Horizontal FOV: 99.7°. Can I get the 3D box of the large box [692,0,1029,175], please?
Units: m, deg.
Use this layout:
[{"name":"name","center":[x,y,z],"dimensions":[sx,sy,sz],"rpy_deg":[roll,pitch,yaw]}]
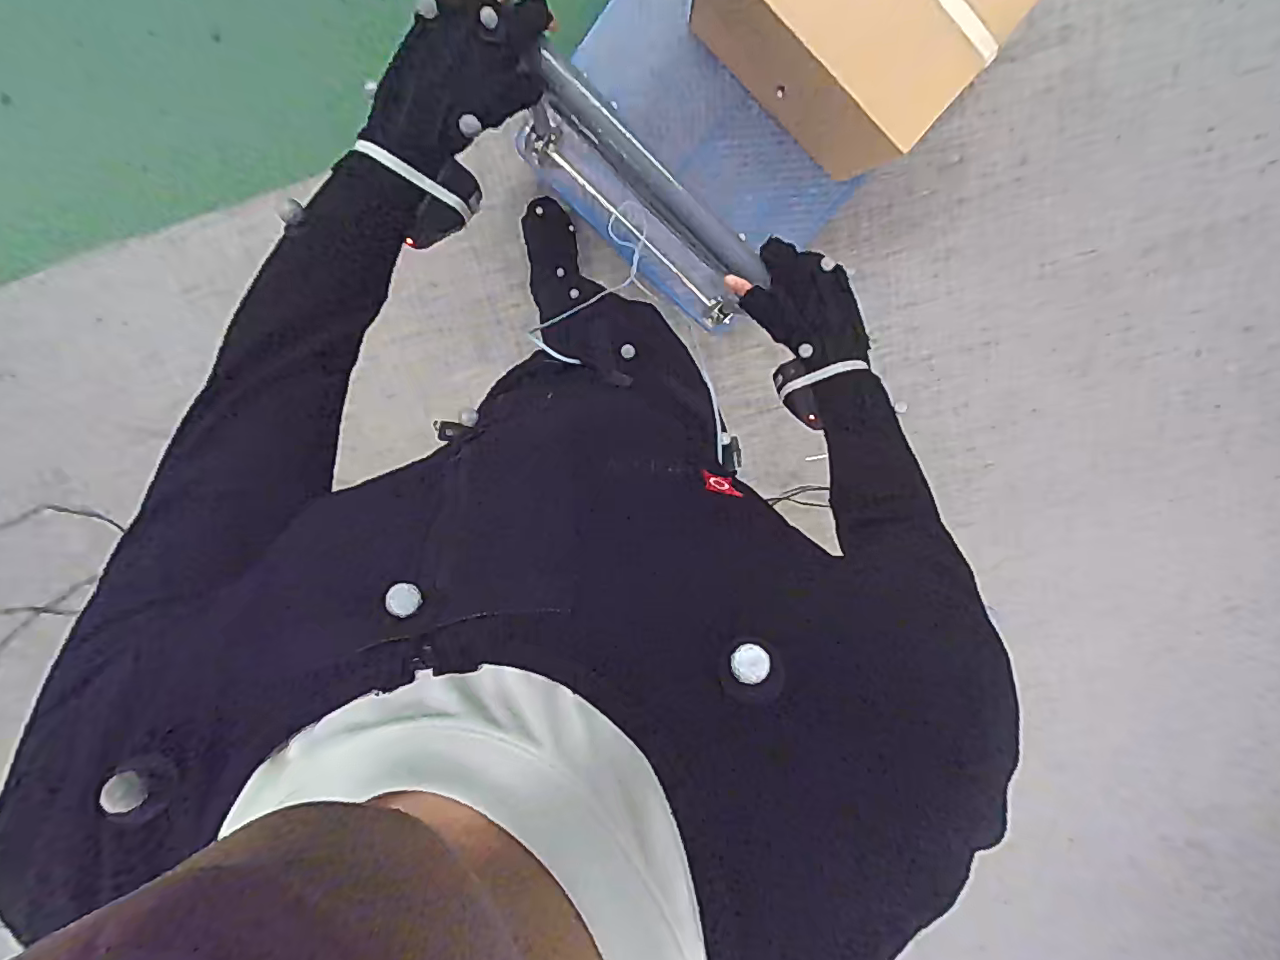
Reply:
[{"name":"large box","center":[0.336,-0.773,0.860],"dimensions":[0.408,0.320,0.320],"rpy_deg":[38,107,-13]}]
